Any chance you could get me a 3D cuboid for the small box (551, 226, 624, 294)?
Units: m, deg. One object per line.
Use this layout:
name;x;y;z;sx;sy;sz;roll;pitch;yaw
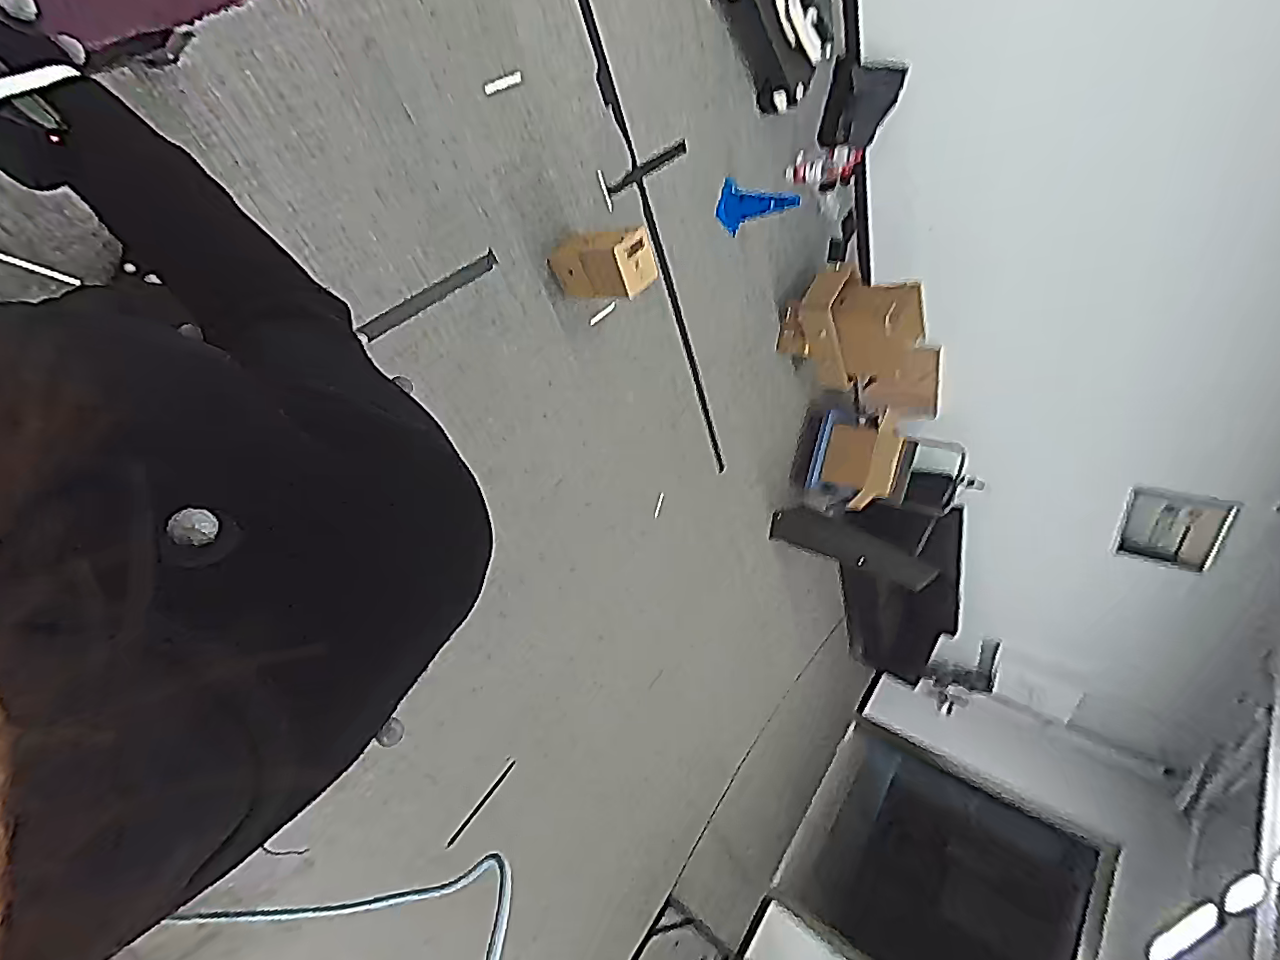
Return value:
small box;-0.196;-0.786;1.945;0.179;0.176;0.168;-51;136;-25
